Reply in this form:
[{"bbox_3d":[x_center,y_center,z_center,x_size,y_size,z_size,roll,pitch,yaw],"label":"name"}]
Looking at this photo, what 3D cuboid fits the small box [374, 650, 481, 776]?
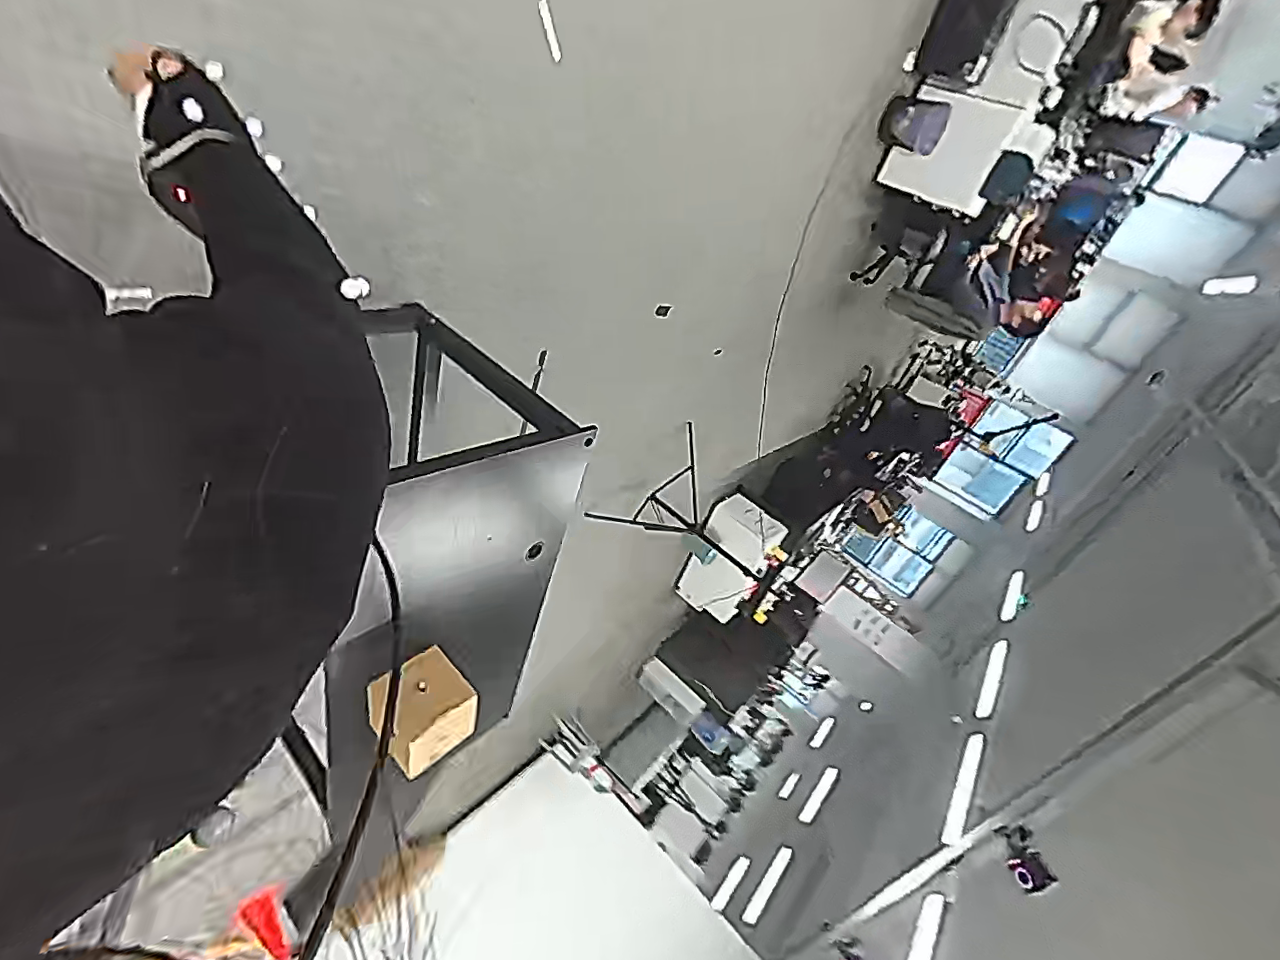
[{"bbox_3d":[-0.487,0.520,1.236,0.168,0.176,0.179,-28,144,-44],"label":"small box"}]
